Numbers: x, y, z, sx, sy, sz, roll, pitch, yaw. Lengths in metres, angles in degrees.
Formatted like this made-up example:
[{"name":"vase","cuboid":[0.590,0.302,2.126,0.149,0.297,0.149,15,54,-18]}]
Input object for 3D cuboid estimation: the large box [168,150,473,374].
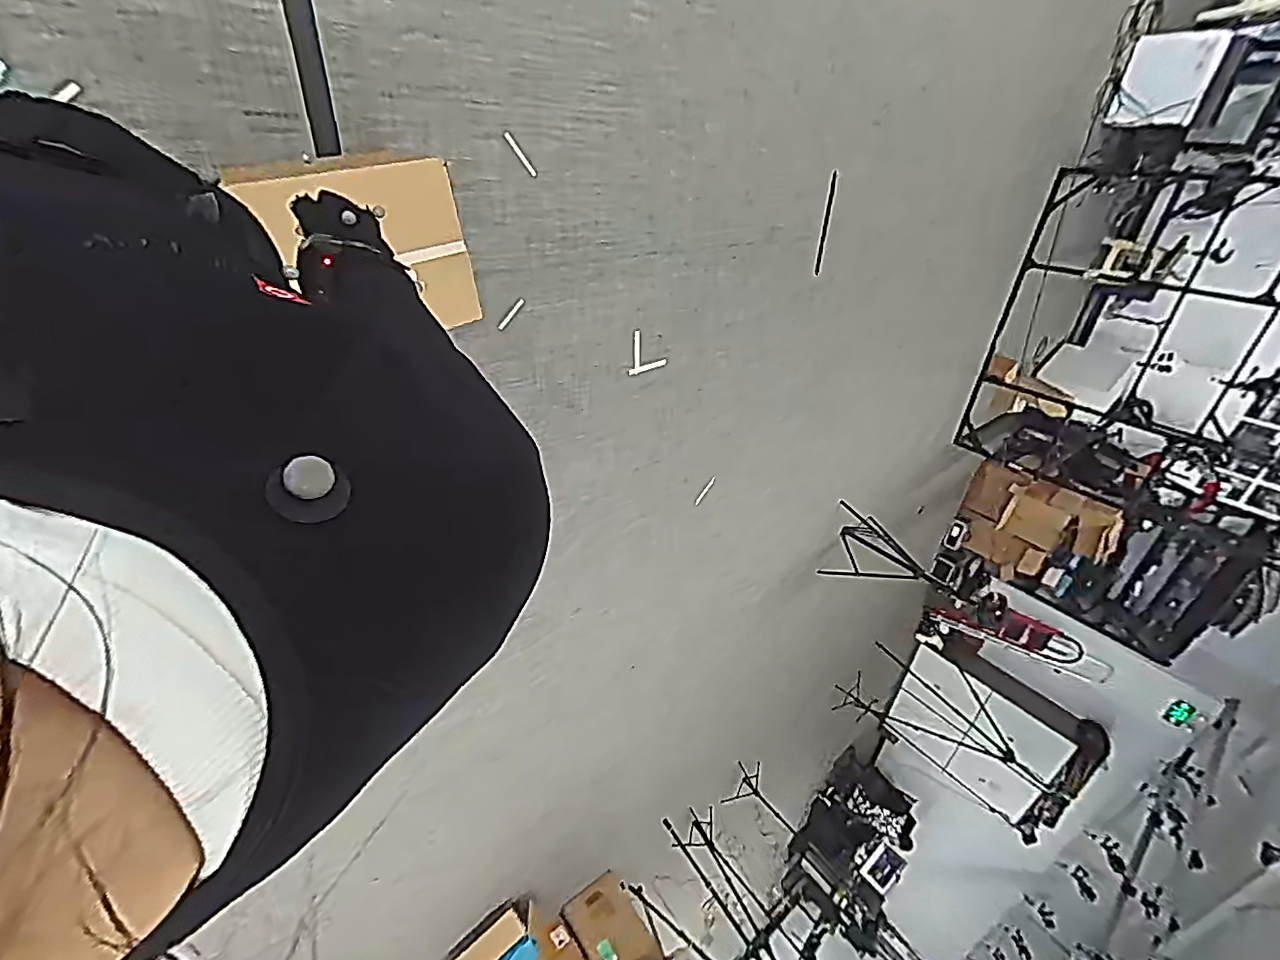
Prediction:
[{"name":"large box","cuboid":[-0.620,-0.459,1.088,0.408,0.320,0.320,-29,134,-29]}]
